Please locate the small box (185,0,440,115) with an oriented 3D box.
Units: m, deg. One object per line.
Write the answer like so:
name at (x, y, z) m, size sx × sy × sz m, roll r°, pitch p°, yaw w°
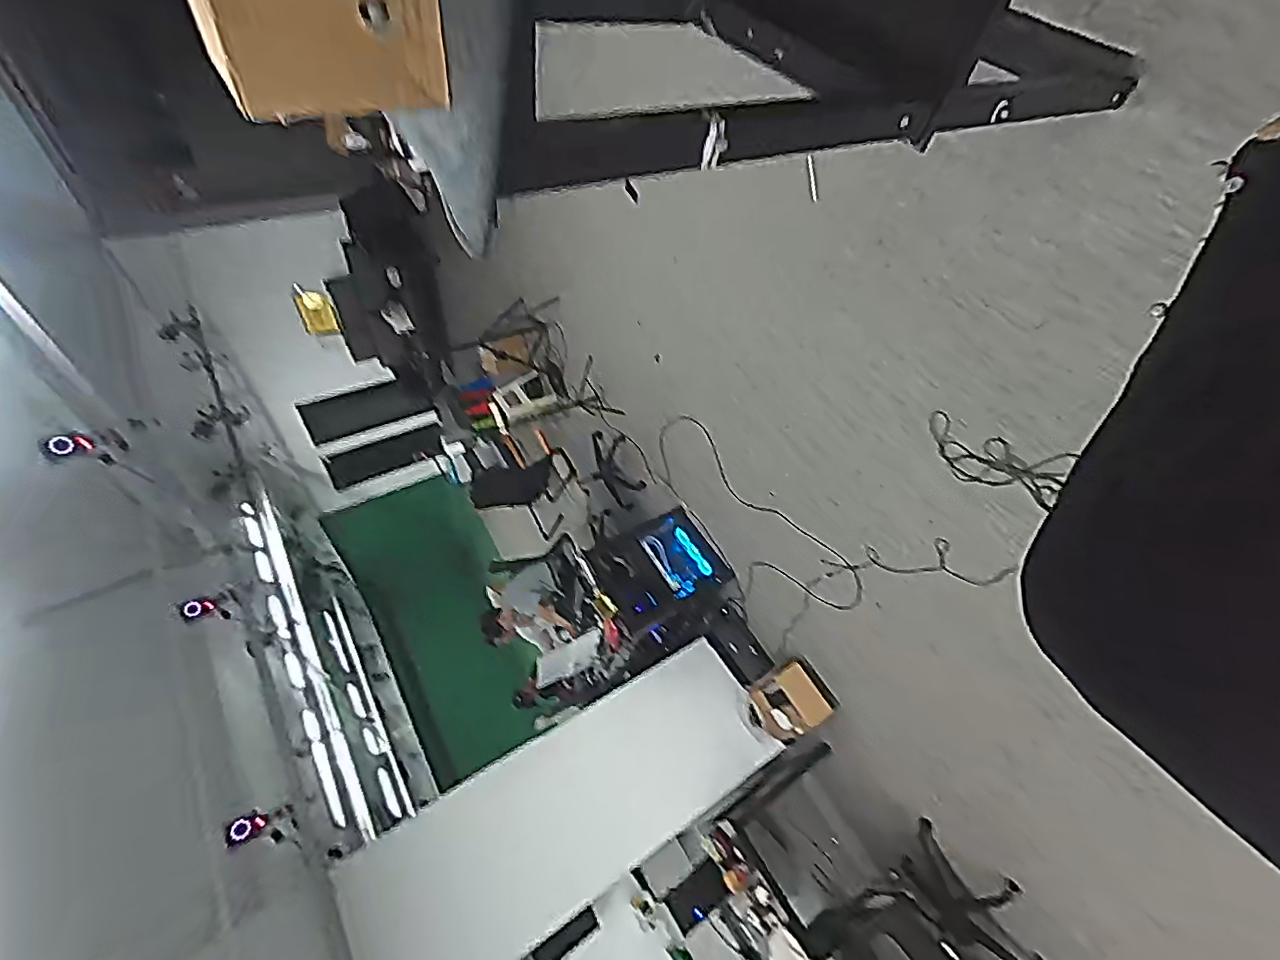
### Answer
small box at (-0.281, -0.422, 0.442) m, size 0.179 × 0.176 × 0.168 m, roll 51°, pitch 150°, yaw 29°
